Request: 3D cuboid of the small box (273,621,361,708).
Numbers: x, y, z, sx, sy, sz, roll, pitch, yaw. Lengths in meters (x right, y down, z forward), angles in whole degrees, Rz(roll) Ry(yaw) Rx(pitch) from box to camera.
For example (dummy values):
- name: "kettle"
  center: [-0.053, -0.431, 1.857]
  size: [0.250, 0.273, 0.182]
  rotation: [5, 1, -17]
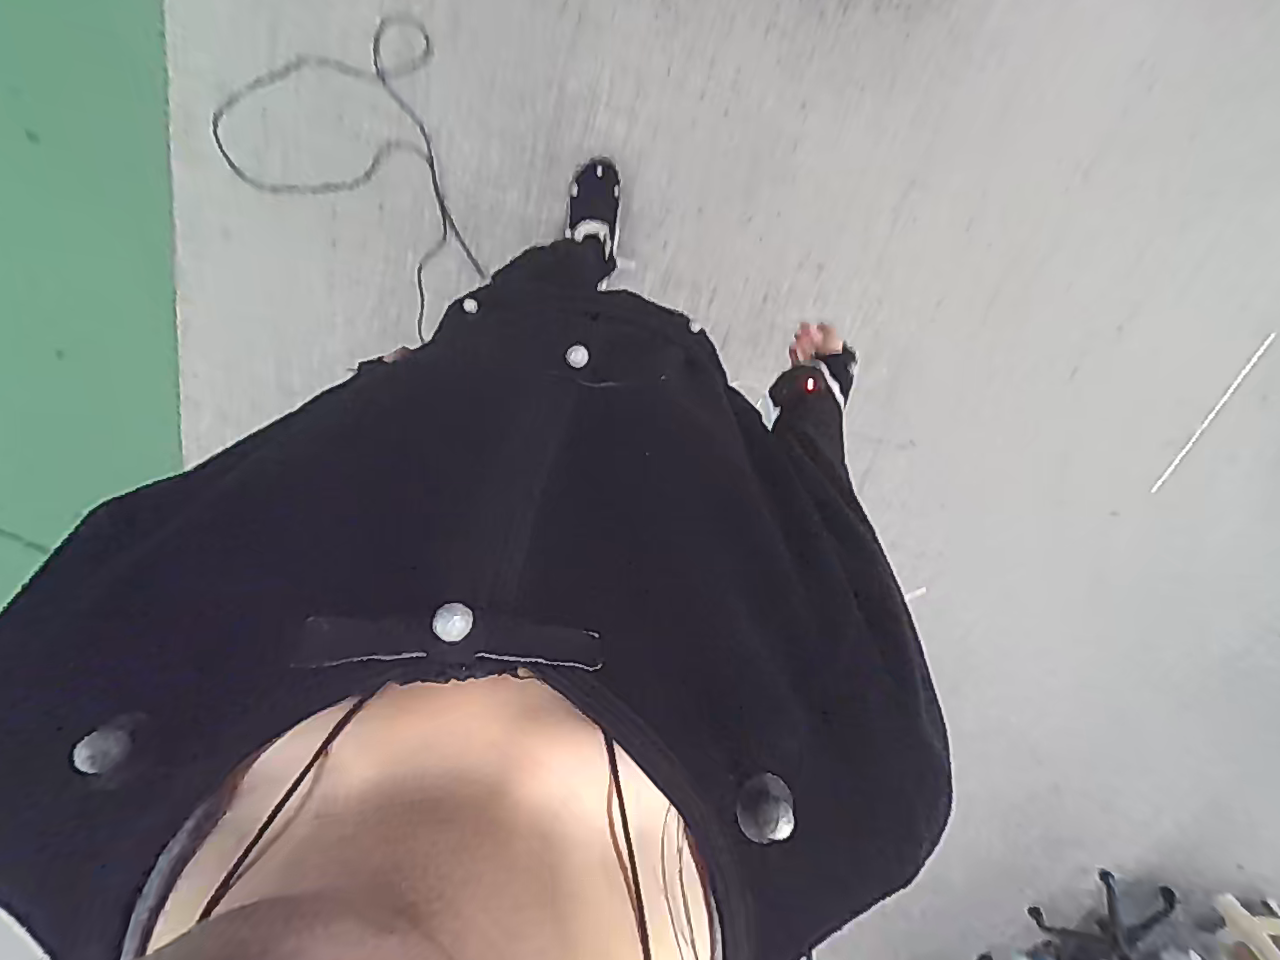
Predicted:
- name: "small box"
  center: [-0.956, 0.546, 1.613]
  size: [0.179, 0.176, 0.168]
  rotation: [14, 112, -9]
